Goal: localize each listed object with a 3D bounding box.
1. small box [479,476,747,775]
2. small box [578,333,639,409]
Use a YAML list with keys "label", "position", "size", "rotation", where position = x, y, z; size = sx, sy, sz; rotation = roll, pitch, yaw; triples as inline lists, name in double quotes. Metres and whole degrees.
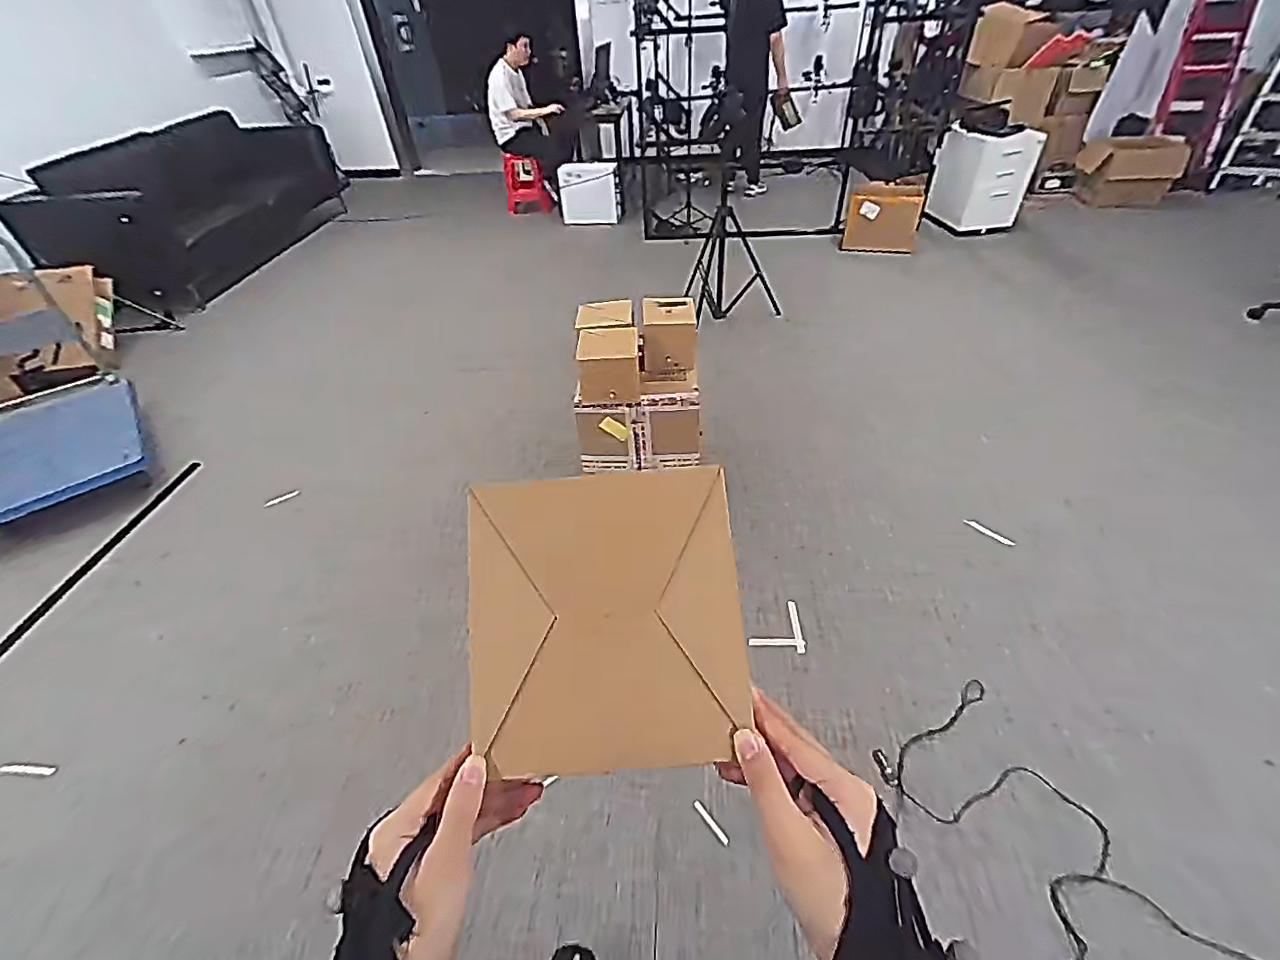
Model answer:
- label: "small box"
  position: [-0.018, 0.107, 0.415]
  size: [0.168, 0.176, 0.179]
  rotation: [-5, 77, 0]
- label: "small box"
  position: [-0.093, -0.334, 1.649]
  size: [0.179, 0.176, 0.168]
  rotation: [-2, 45, 2]
